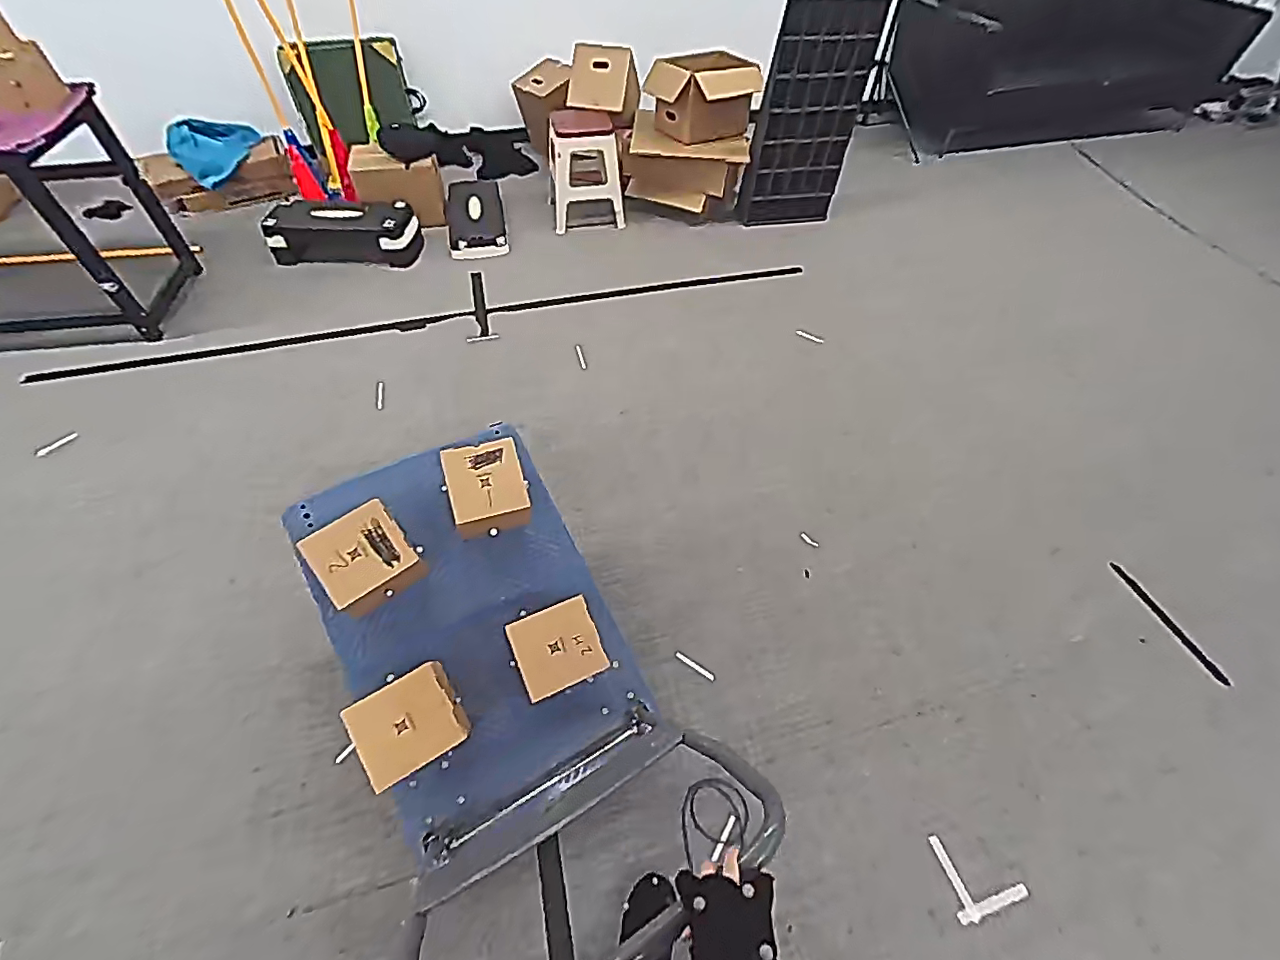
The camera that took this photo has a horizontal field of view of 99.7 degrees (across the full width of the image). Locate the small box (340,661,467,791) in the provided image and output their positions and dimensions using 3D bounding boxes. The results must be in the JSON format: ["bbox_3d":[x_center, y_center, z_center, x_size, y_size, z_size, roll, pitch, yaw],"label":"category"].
[{"bbox_3d":[-0.465,0.487,1.091,0.179,0.176,0.168,-27,80,-22],"label":"small box"}]

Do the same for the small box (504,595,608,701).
[{"bbox_3d":[-0.190,0.371,1.198,0.179,0.176,0.168,-19,77,-19],"label":"small box"}]

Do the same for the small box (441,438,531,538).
[{"bbox_3d":[-0.363,0.022,1.276,0.168,0.176,0.179,-13,76,-18],"label":"small box"}]
